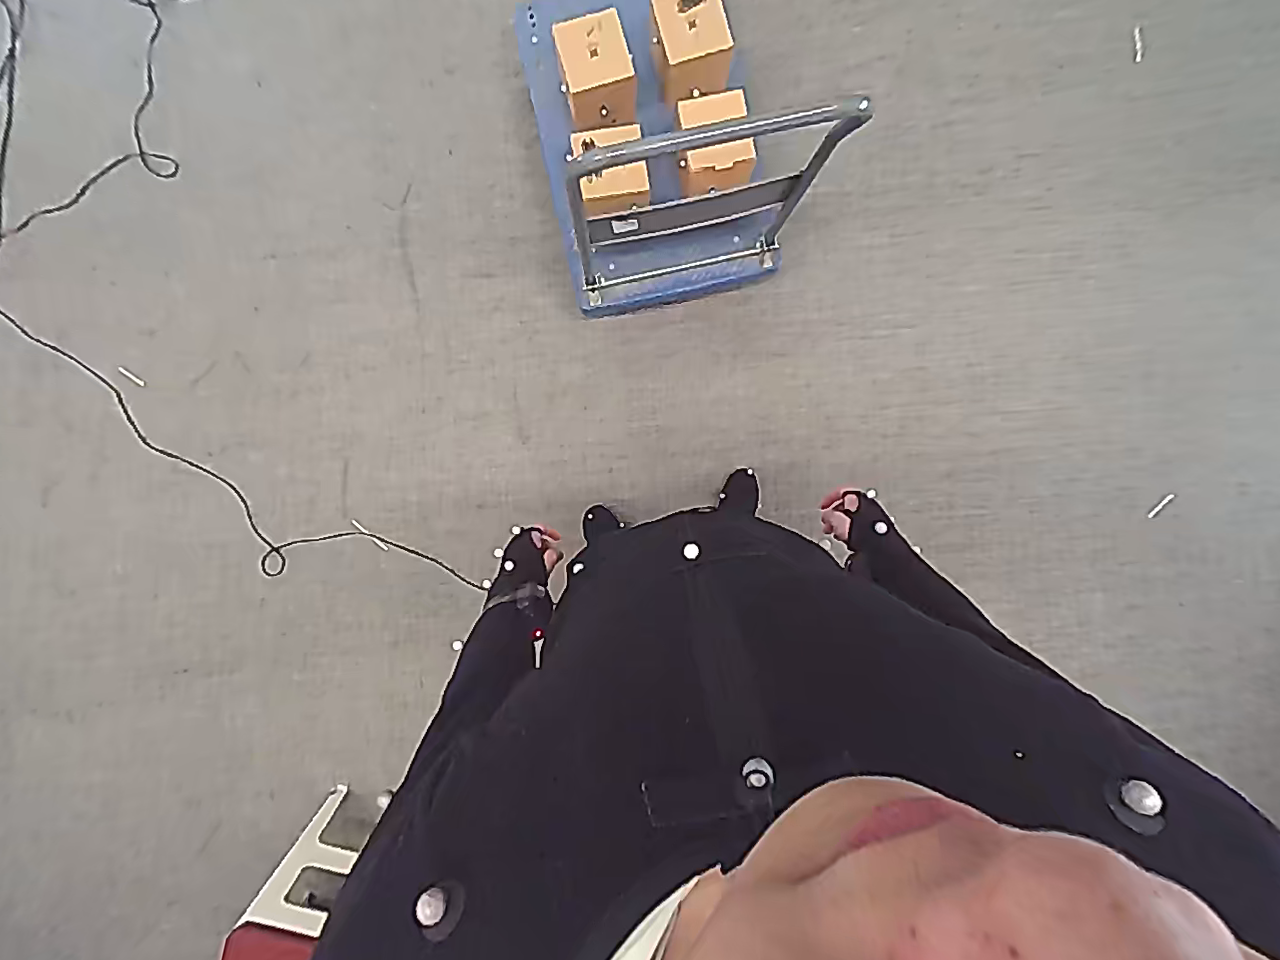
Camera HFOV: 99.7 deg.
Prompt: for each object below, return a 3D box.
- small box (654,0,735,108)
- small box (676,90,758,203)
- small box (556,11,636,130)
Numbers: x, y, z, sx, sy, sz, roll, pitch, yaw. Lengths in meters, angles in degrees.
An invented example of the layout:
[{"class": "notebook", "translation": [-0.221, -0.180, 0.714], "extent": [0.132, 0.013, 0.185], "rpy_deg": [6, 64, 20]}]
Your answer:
[{"class": "small box", "translation": [0.134, -1.124, 1.408], "extent": [0.168, 0.176, 0.179], "rpy_deg": [-16, 90, 1]}, {"class": "small box", "translation": [0.194, -0.860, 1.408], "extent": [0.168, 0.176, 0.179], "rpy_deg": [-12, 90, 0]}, {"class": "small box", "translation": [-0.107, -1.052, 1.410], "extent": [0.168, 0.176, 0.179], "rpy_deg": [-16, 90, -1]}]
